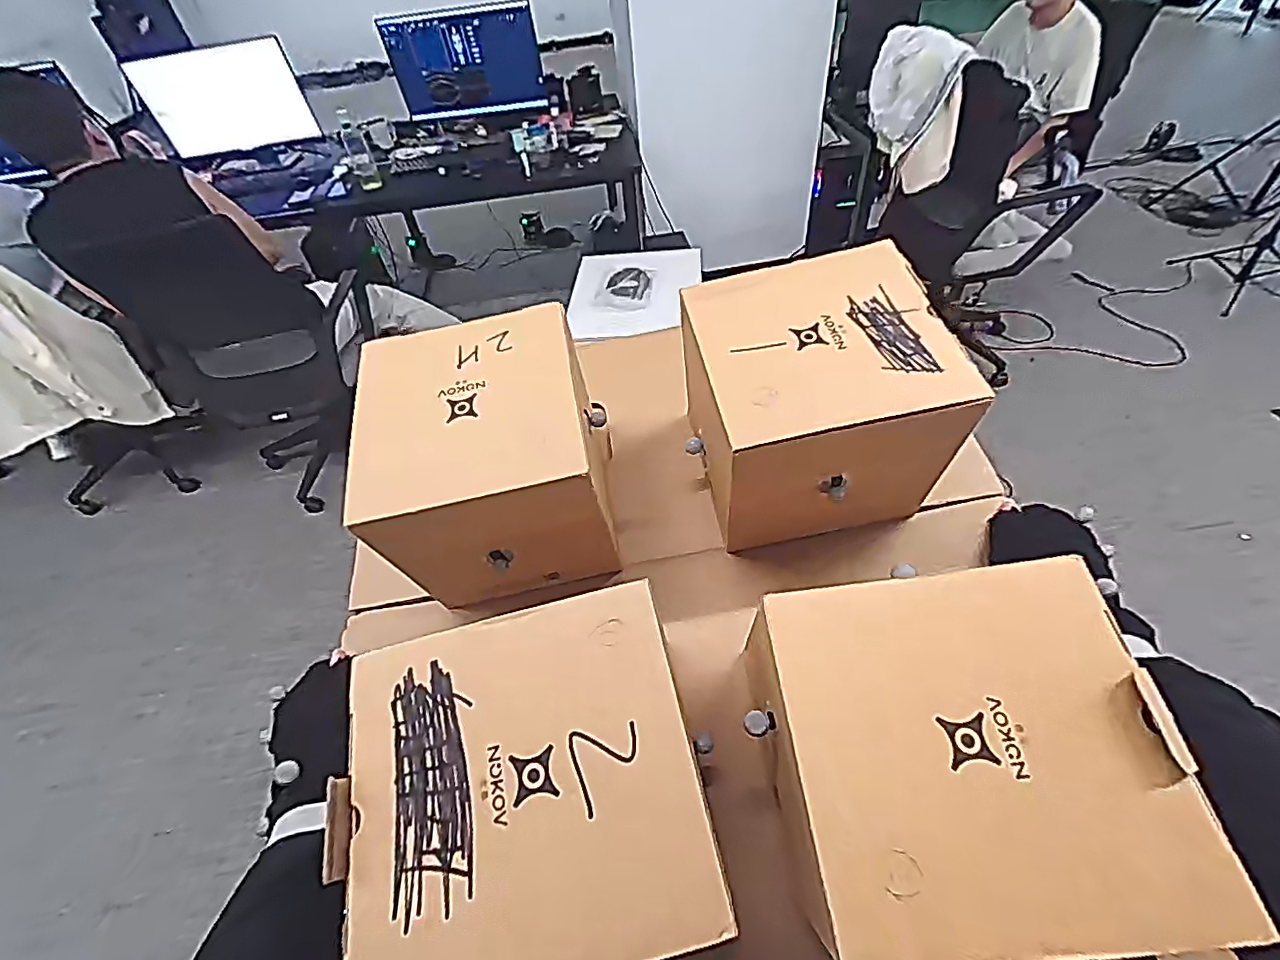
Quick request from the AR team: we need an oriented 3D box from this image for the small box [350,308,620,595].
[{"bbox_3d":[-0.118,-0.013,0.468,0.168,0.176,0.179,-12,57,0],"label":"small box"}]
